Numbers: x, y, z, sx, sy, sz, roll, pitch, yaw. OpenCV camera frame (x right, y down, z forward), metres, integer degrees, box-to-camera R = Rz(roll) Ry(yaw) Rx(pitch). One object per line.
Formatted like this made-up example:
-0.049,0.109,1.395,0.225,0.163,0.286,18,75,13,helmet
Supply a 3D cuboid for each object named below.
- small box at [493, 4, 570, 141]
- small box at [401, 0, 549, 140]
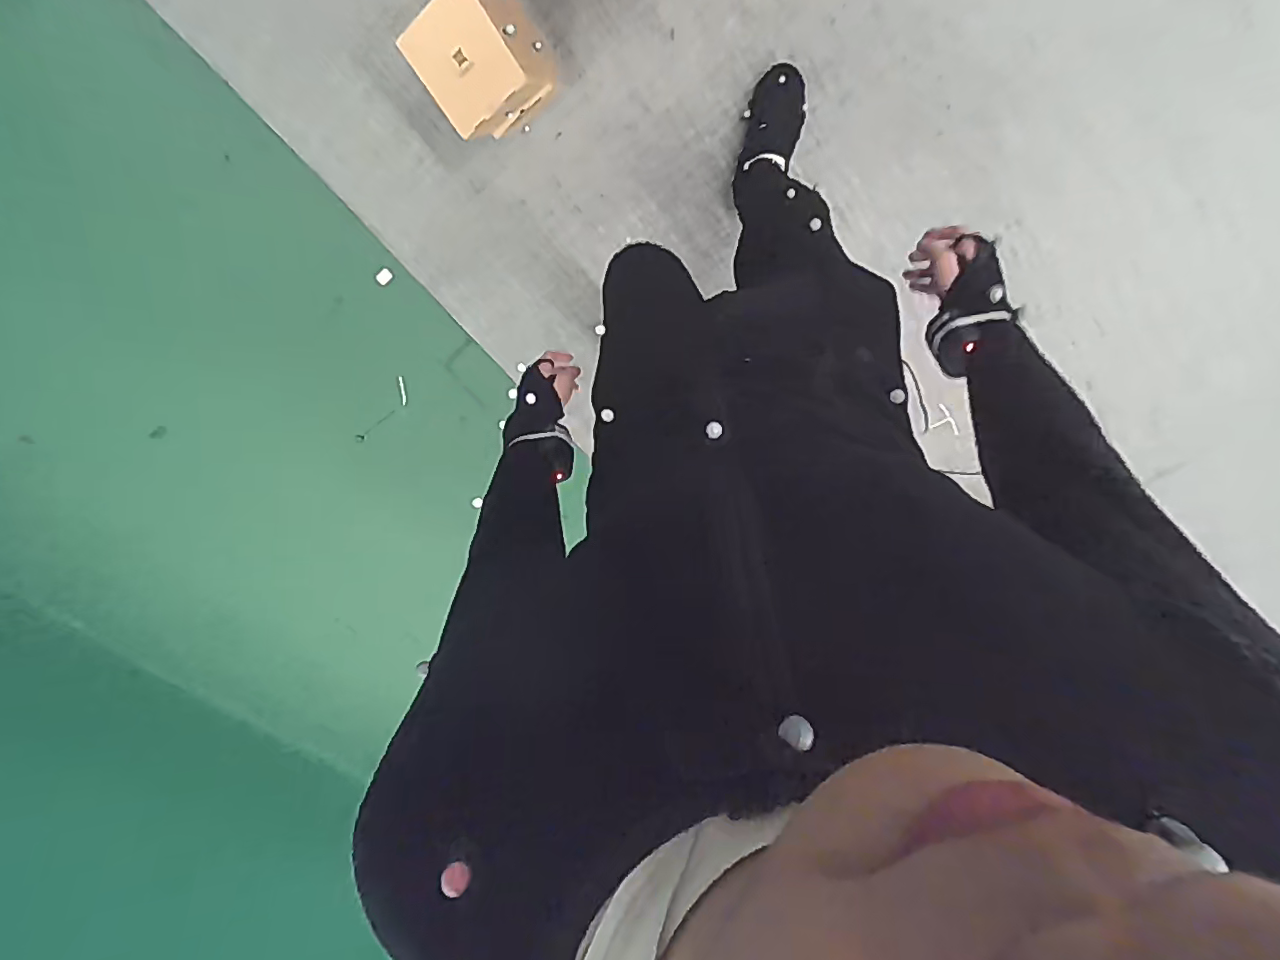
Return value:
-0.274,-0.872,1.160,0.168,0.176,0.179,-25,120,24,small box
-0.297,-0.776,1.011,0.168,0.176,0.179,-25,120,24,small box
